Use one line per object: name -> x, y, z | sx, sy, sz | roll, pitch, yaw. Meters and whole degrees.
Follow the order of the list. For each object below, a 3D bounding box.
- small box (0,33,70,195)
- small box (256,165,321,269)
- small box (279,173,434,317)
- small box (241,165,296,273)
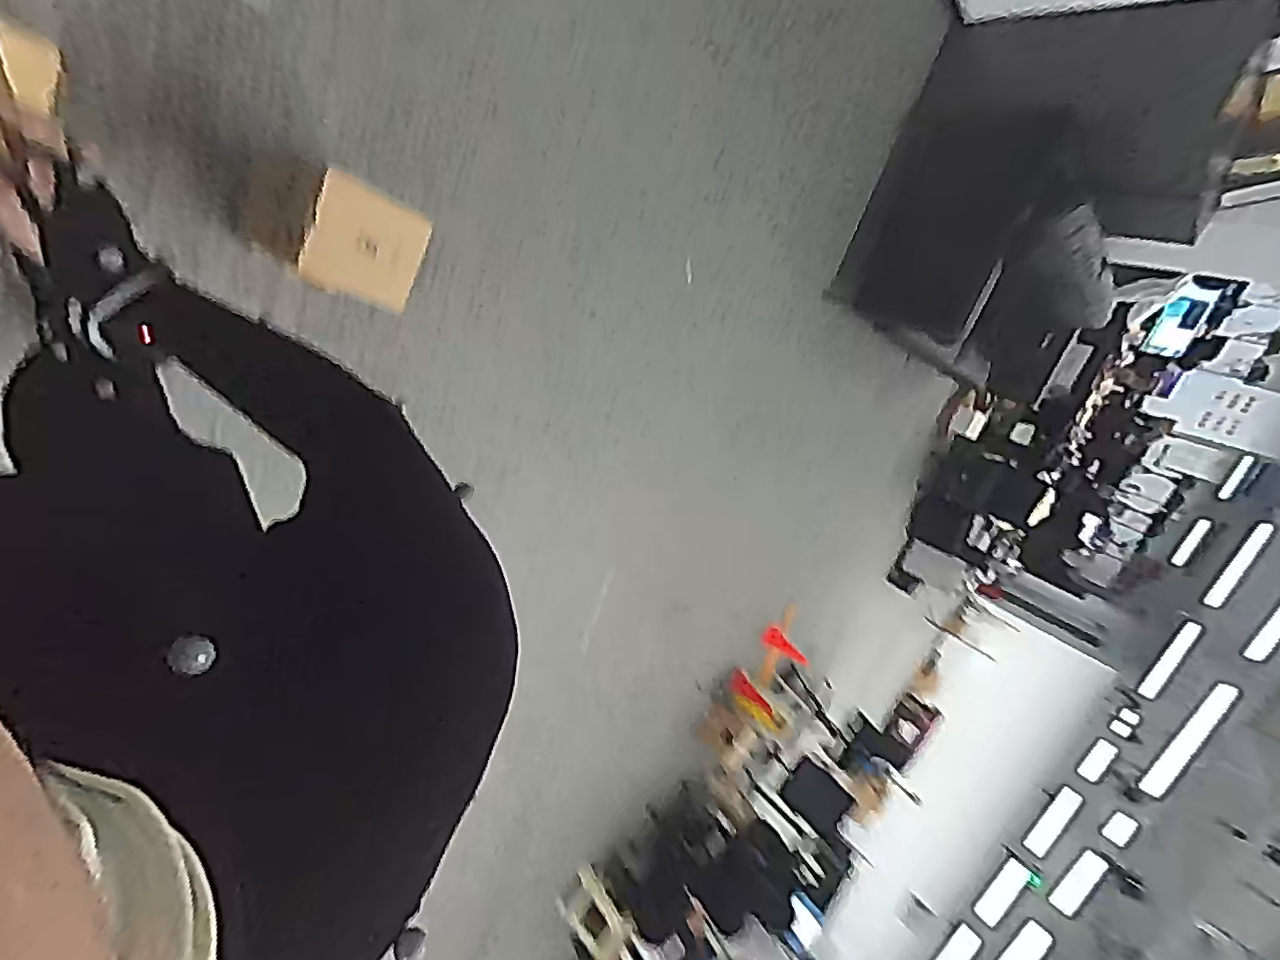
small box -> -0.899, -0.515, 0.721 | 0.168, 0.176, 0.179 | 12, 106, -50
small box -> -0.612, -0.479, 1.042 | 0.168, 0.176, 0.179 | 14, 104, -49
small box -> -0.500, -0.410, 0.945 | 0.179, 0.176, 0.168 | 14, 105, -49
small box -> -0.724, -0.537, 1.147 | 0.168, 0.176, 0.179 | 7, 110, -49
